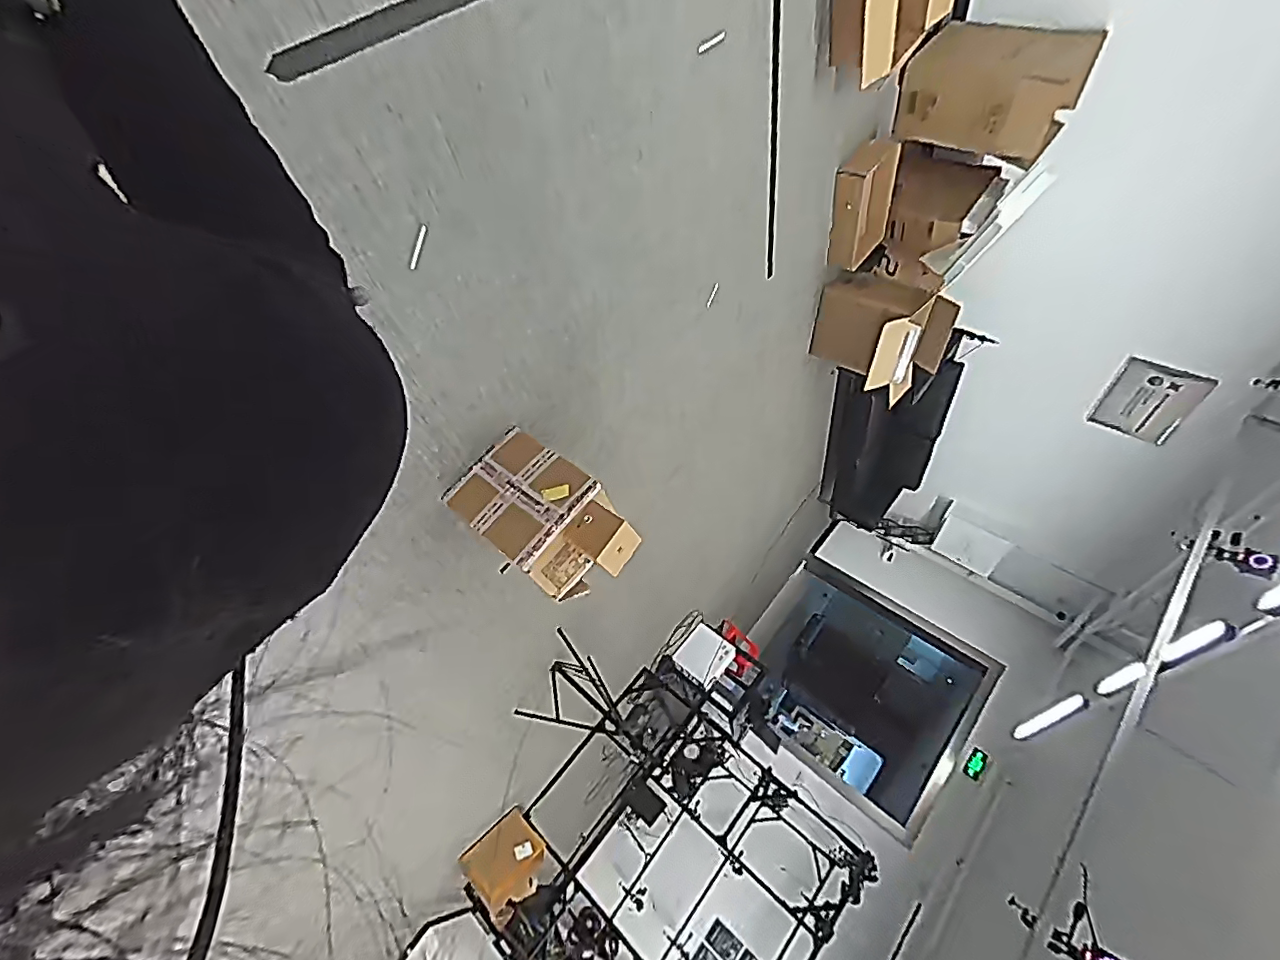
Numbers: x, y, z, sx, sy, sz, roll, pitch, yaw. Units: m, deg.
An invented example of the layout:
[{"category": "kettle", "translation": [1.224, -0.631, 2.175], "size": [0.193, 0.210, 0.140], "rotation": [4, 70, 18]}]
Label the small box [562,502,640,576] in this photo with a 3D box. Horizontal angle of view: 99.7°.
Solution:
[{"category": "small box", "translation": [-0.135, 0.202, 1.880], "size": [0.168, 0.176, 0.179], "rotation": [-54, 146, -12]}]
